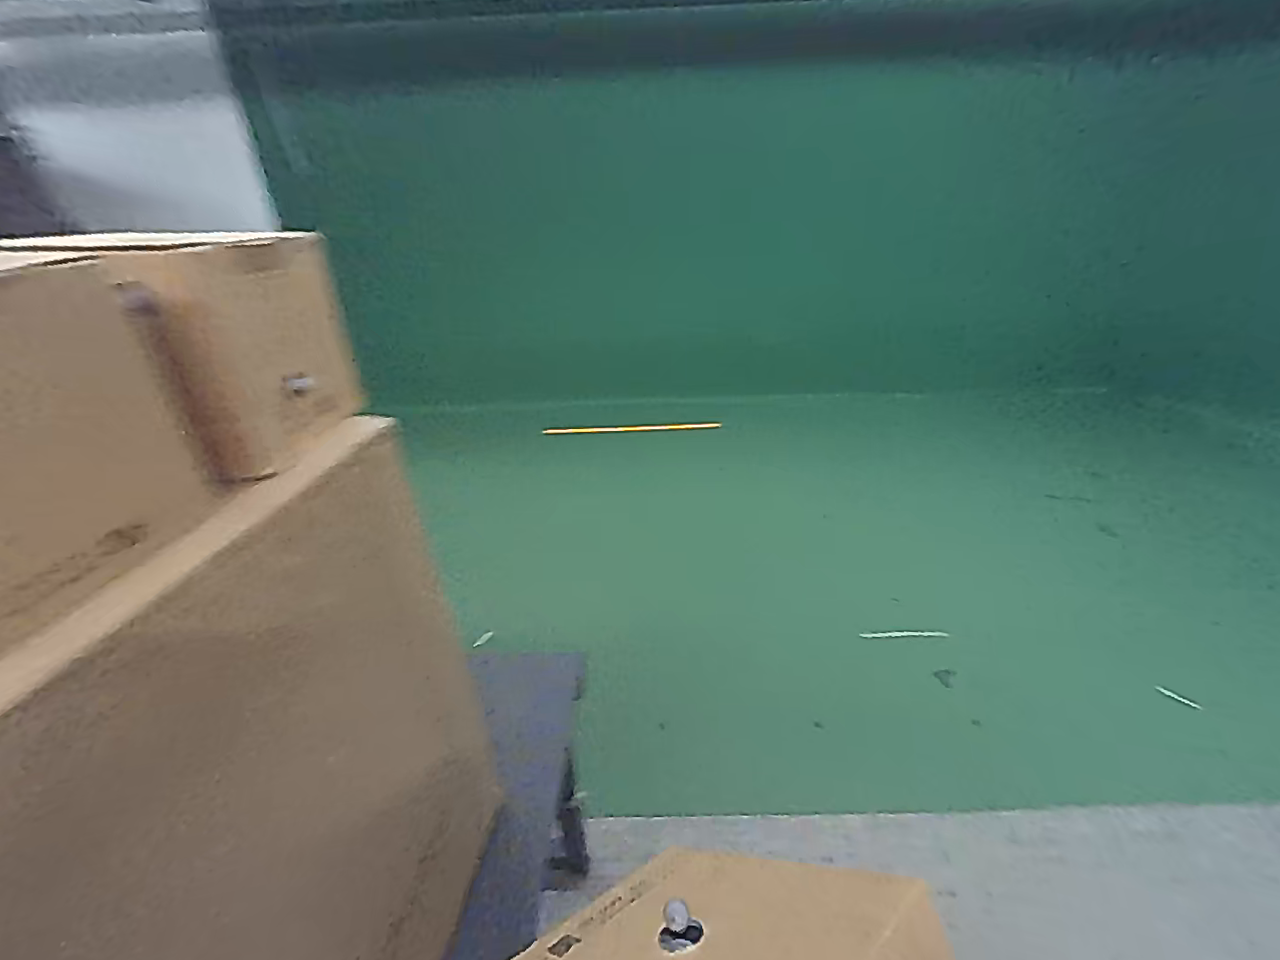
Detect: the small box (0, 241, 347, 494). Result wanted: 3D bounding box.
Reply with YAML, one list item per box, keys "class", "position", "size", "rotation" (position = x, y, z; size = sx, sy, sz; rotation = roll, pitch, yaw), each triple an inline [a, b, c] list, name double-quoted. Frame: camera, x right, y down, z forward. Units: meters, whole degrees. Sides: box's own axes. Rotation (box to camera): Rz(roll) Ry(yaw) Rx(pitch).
- class: "small box"
  position: [-0.372, -0.096, 0.434]
  size: [0.179, 0.176, 0.168]
  rotation: [0, 27, -3]

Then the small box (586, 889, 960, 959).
- class: "small box"
  position: [0.048, 0.304, 0.225]
  size: [0.168, 0.179, 0.176]
  rotation: [2, -23, -43]
